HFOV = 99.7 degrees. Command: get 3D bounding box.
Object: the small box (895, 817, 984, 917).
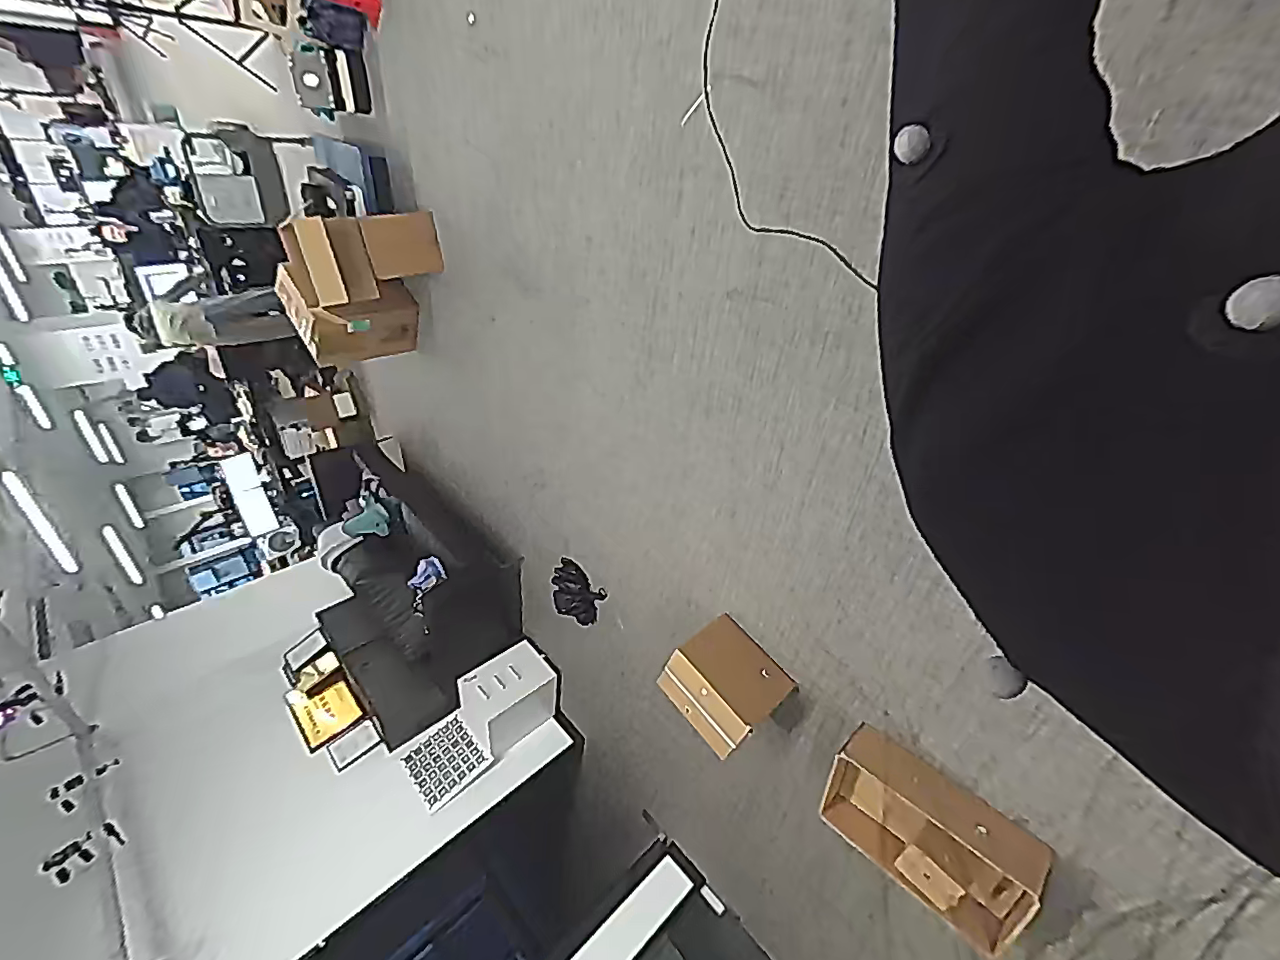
[{"bbox_3d":[0.976,1.250,1.757,0.179,0.176,0.168,36,133,36],"label":"small box"}]
